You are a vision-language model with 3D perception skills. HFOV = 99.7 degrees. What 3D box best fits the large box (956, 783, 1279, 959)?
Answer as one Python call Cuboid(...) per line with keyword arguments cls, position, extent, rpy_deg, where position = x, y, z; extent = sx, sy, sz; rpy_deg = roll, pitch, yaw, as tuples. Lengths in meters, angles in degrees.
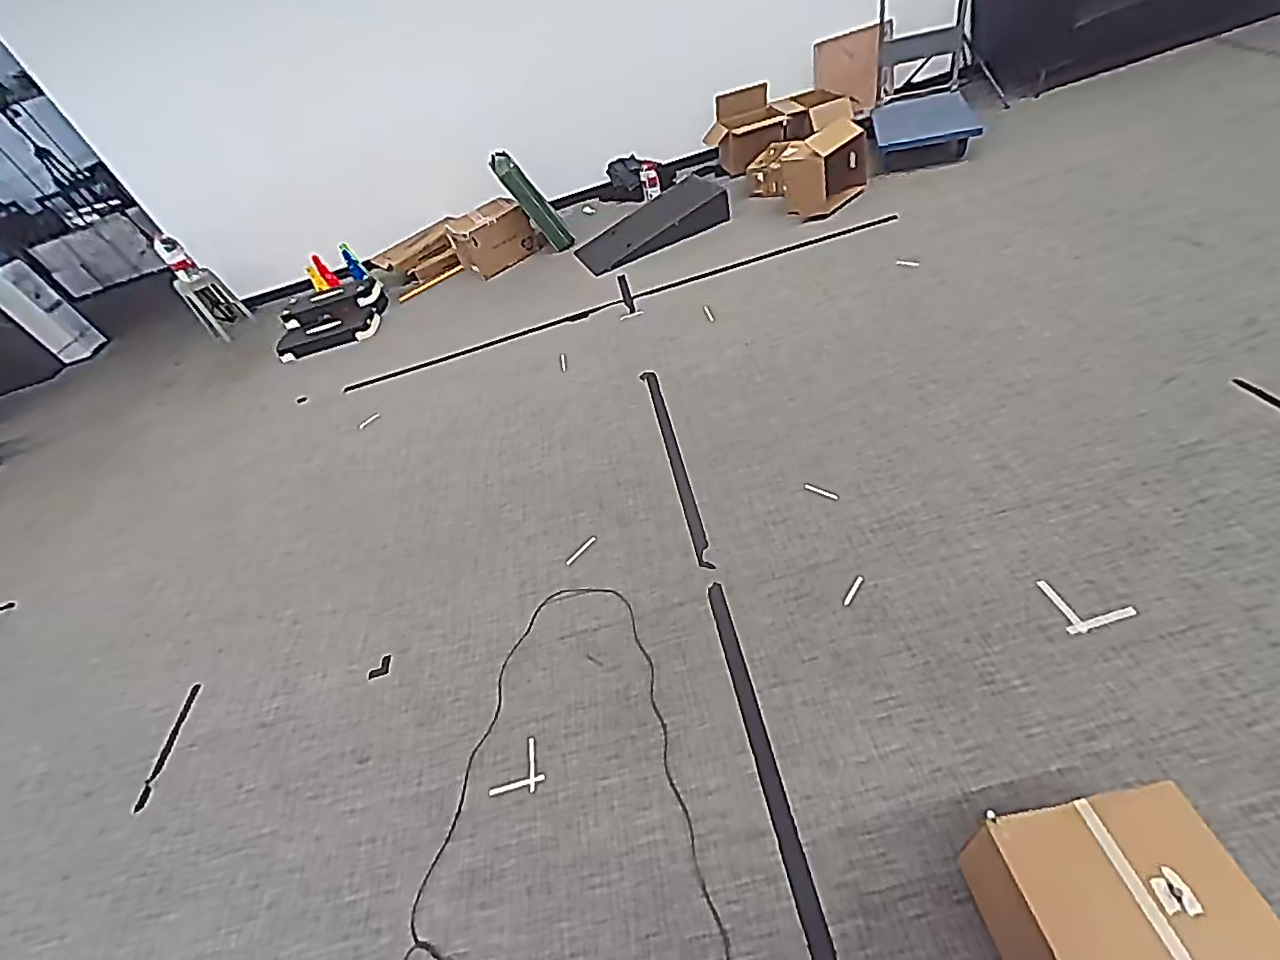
Cuboid(cls="large box", position=(0.797, 0.789, 0.882), extent=(0.320, 0.320, 0.408), rpy_deg=(-14, 43, 3))
